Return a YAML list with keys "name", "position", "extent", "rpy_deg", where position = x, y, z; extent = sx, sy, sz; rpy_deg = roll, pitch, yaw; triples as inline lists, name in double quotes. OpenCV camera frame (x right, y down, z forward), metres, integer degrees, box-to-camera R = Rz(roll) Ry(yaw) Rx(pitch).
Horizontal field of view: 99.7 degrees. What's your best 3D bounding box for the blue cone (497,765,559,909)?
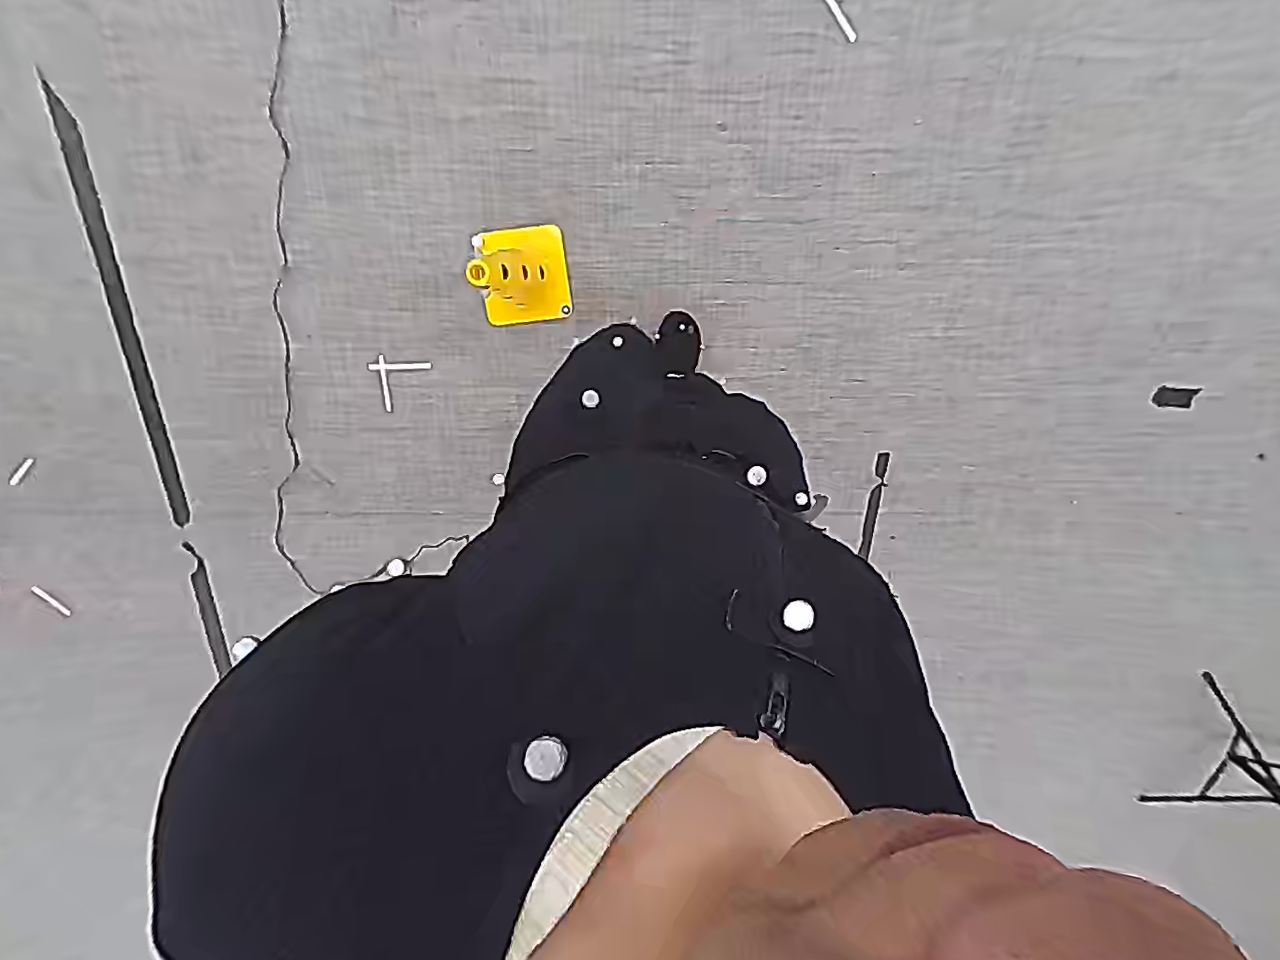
- name: "blue cone"
  position: [-0.358, 1.046, 1.583]
  extent: [0.192, 0.380, 0.193]
  rpy_deg: [1, 110, -1]
